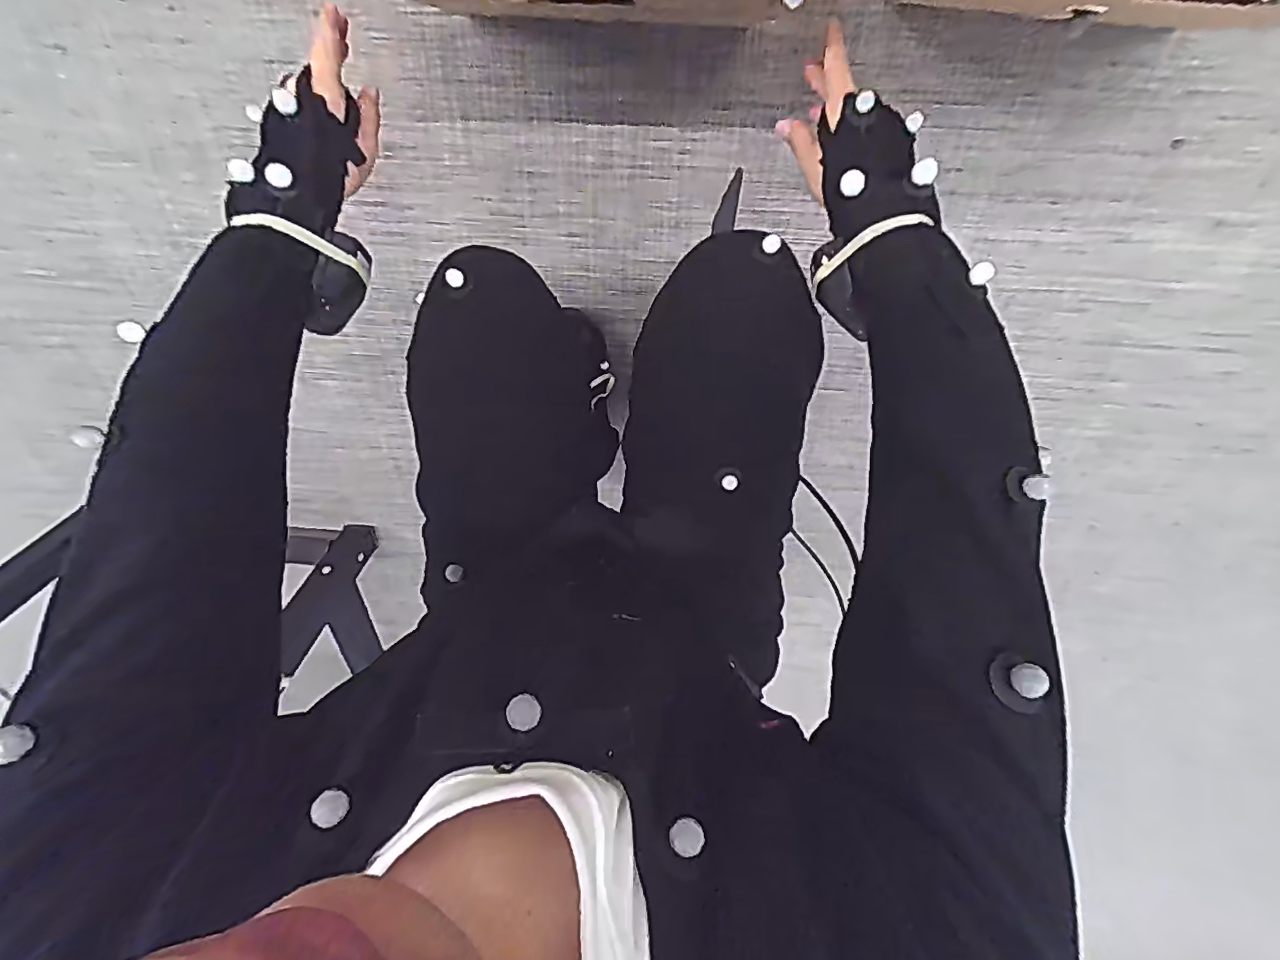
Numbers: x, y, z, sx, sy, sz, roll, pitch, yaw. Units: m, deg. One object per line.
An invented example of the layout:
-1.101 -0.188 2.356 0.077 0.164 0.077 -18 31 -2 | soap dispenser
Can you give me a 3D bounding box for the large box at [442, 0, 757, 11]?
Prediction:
-0.040 -0.560 0.325 0.320 0.320 0.408 3 128 3 | large box
